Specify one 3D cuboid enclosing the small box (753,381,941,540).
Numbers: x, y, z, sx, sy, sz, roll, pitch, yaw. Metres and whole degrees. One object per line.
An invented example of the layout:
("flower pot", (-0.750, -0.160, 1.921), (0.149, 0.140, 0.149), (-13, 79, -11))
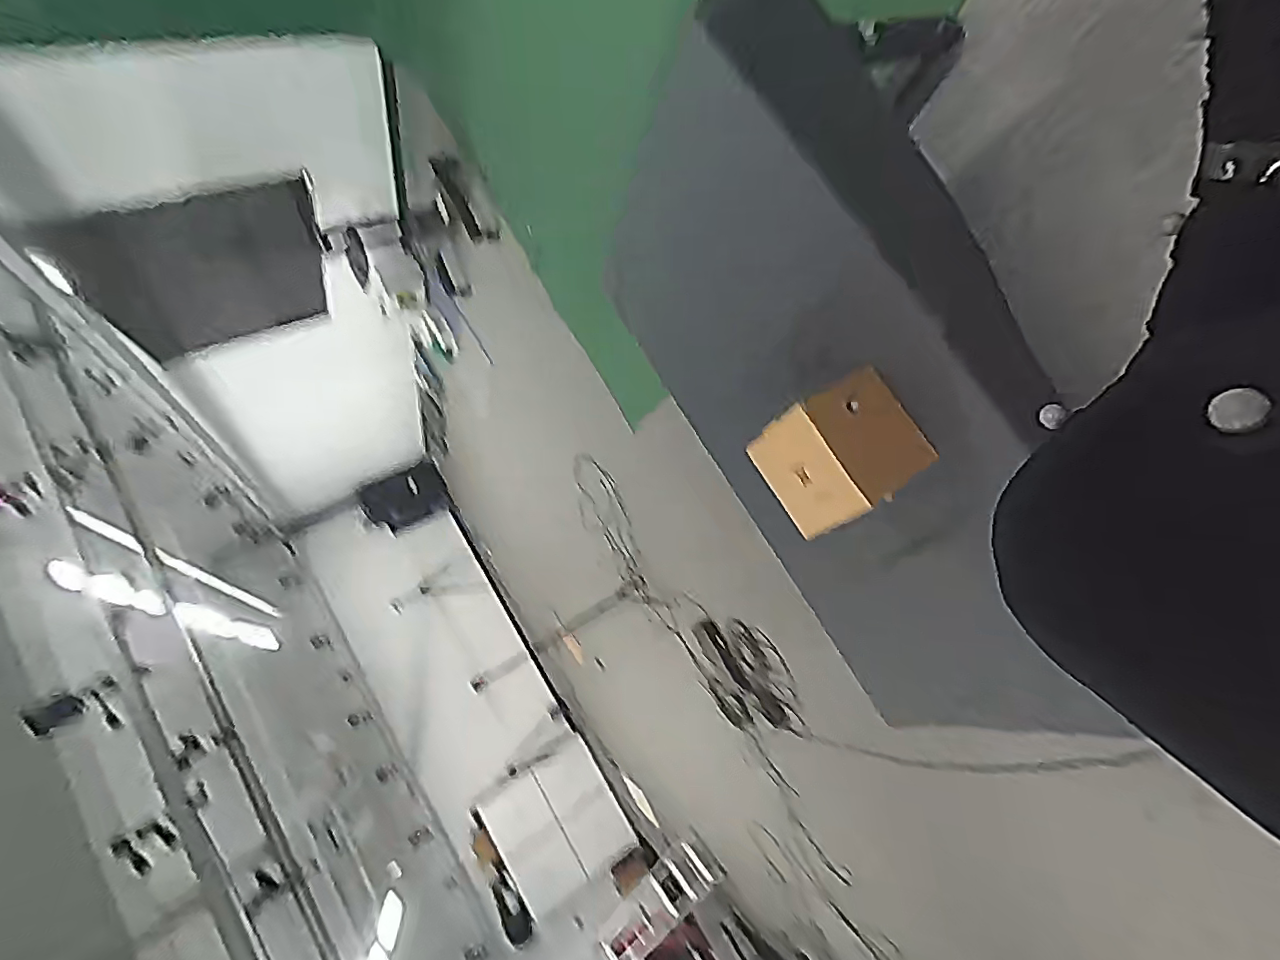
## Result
("small box", (0.320, -0.036, 0.851), (0.179, 0.176, 0.168), (56, 155, 10))
